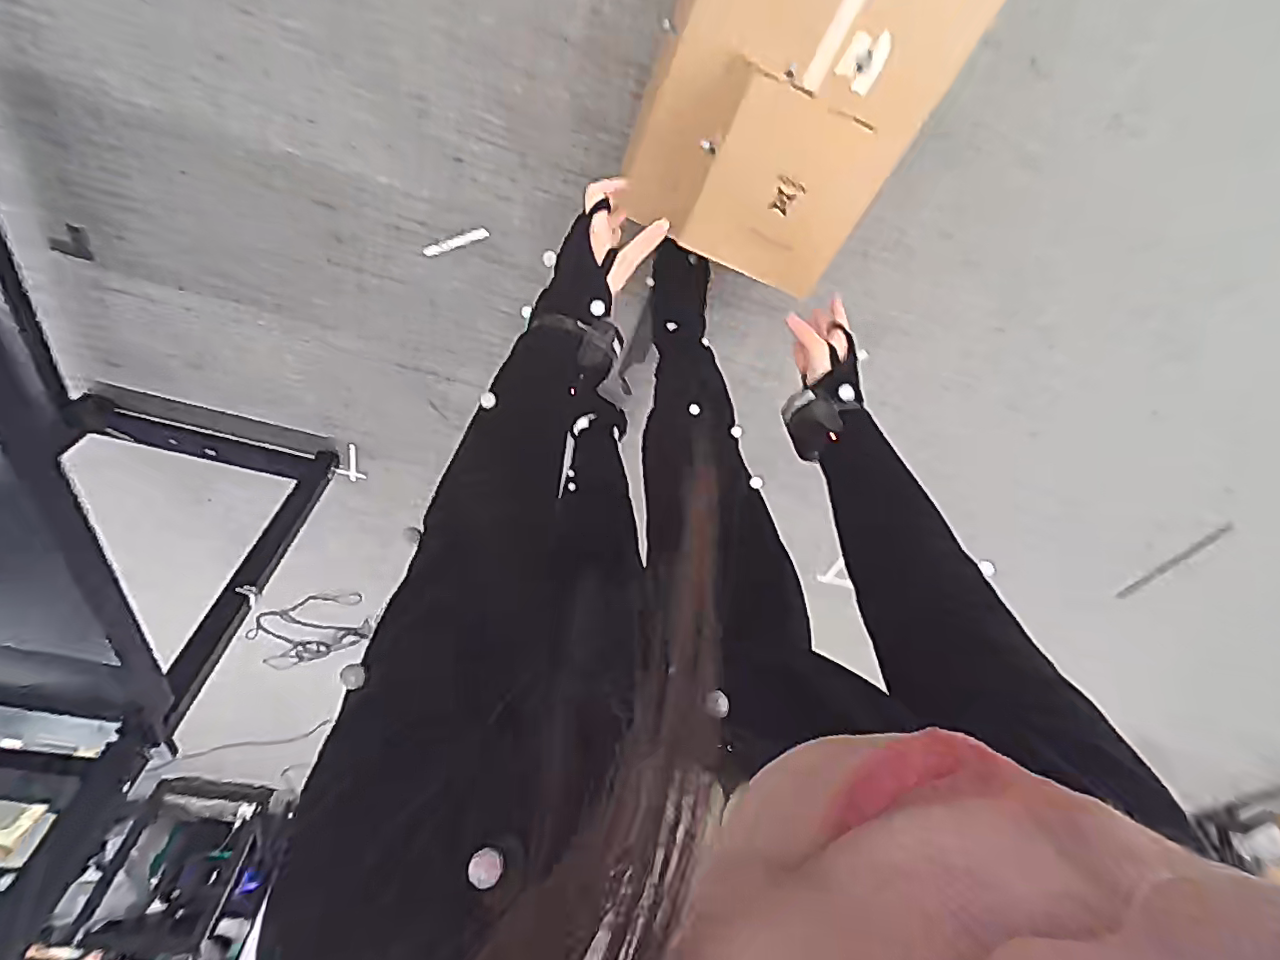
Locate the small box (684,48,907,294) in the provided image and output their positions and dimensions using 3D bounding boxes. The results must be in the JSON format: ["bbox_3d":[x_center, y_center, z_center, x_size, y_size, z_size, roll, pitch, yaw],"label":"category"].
[{"bbox_3d":[0.155,-0.353,0.616,0.168,0.176,0.179,19,131,-14],"label":"small box"}]

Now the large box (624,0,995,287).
[{"bbox_3d":[0.190,-0.561,0.758,0.320,0.320,0.408,17,130,-16],"label":"large box"}]
